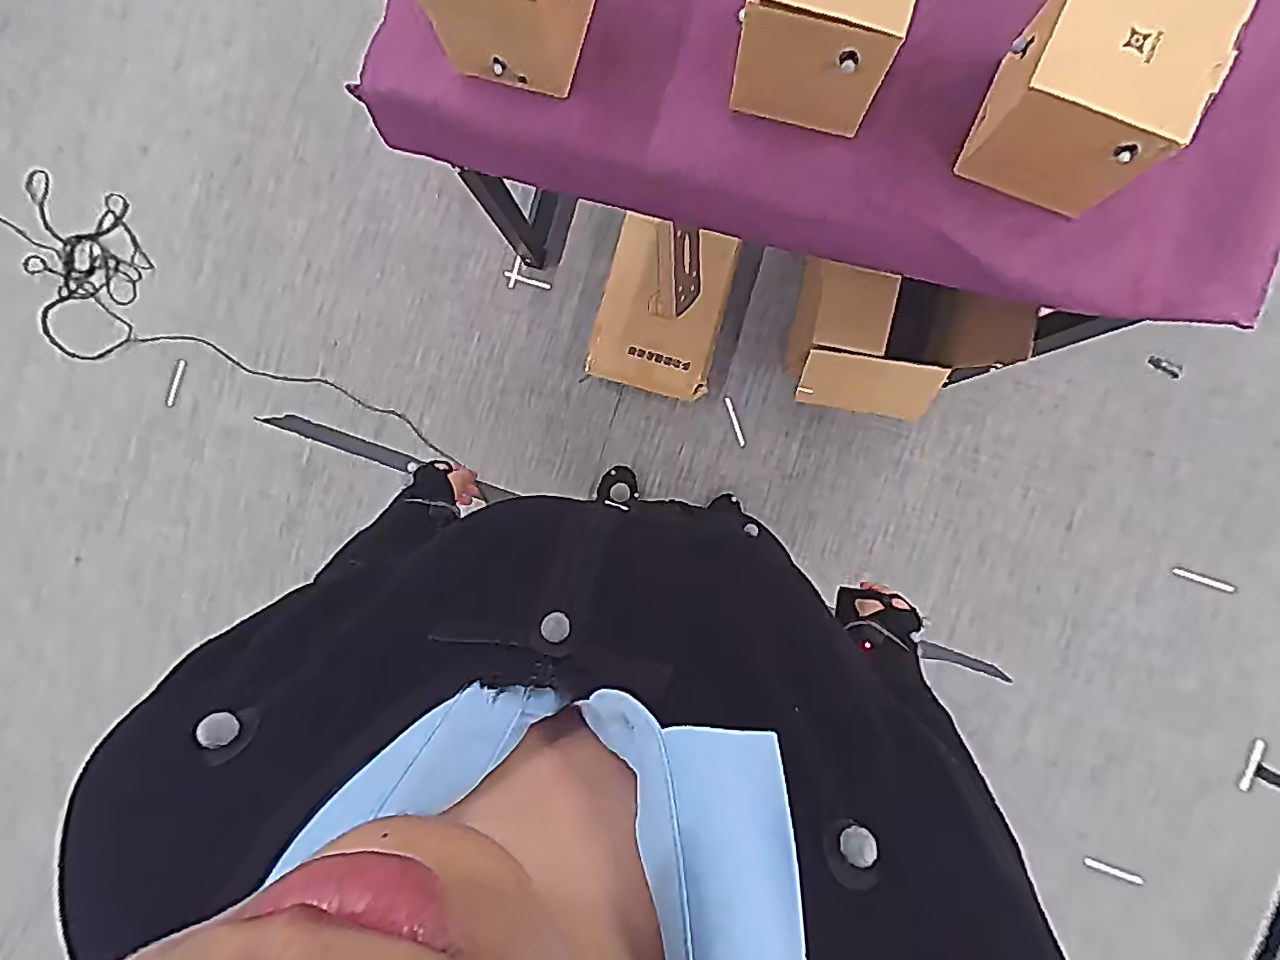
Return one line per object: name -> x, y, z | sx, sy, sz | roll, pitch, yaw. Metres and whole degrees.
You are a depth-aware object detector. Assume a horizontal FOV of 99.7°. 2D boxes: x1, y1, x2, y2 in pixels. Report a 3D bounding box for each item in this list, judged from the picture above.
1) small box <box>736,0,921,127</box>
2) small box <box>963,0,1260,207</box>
small box -> 0.227, -0.568, 0.650 | 0.179, 0.176, 0.168 | 16, 90, 3
small box -> 0.525, -0.456, 0.633 | 0.179, 0.176, 0.168 | 23, 92, 3
